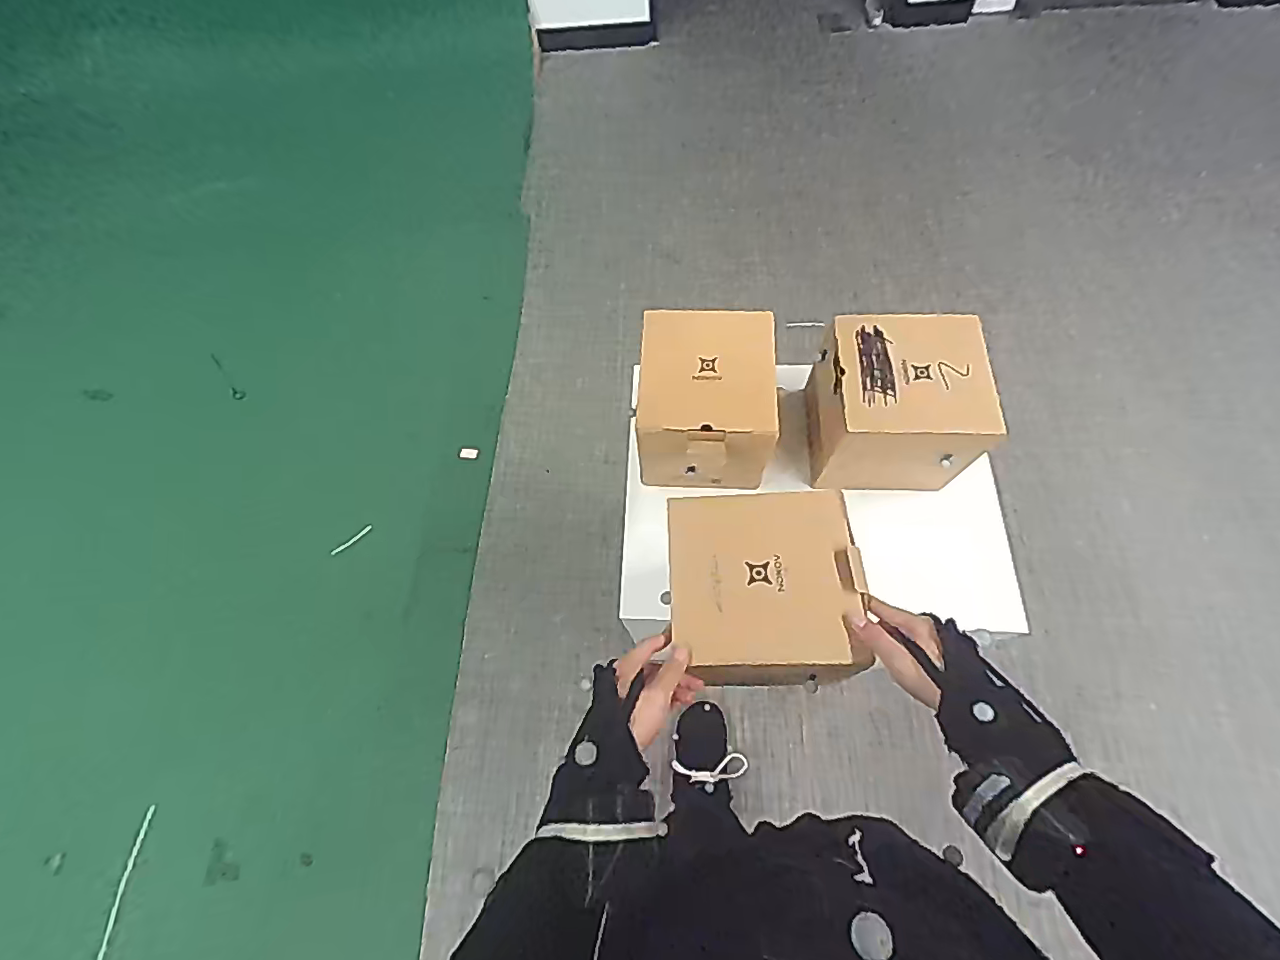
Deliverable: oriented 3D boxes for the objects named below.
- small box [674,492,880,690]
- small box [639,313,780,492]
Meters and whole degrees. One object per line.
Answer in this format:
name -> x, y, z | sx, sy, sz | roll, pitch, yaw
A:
small box -> 0.127, 0.124, 0.572 | 0.179, 0.176, 0.168 | -3, 61, 6
small box -> 0.087, -0.099, 0.725 | 0.168, 0.176, 0.179 | 2, 67, 4
